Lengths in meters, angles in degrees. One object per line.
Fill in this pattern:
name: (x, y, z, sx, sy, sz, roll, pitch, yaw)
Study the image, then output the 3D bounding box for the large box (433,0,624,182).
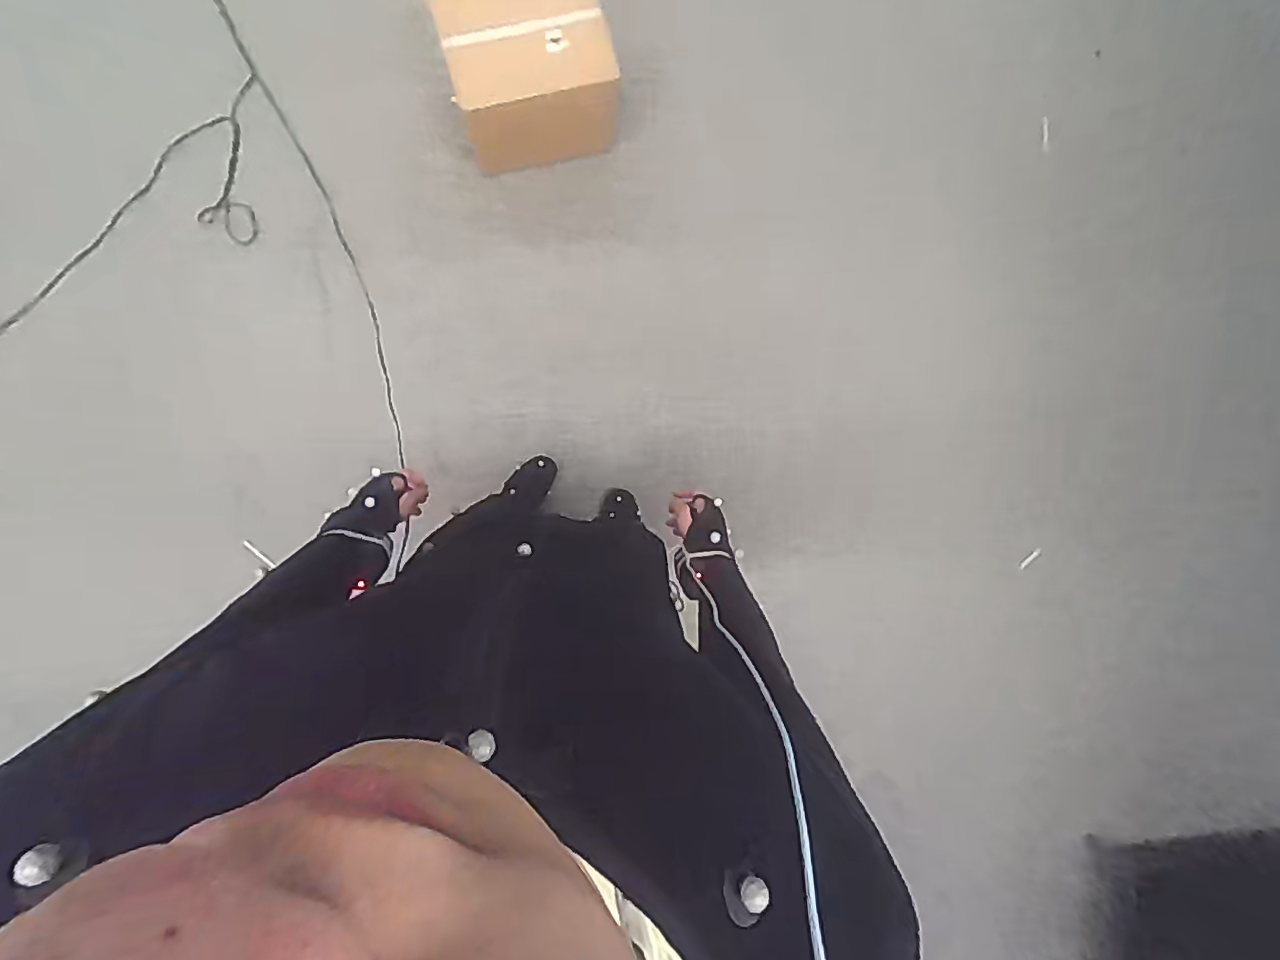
large box: (-0.287, -1.077, 1.467, 0.408, 0.320, 0.320, -16, 93, -7)
